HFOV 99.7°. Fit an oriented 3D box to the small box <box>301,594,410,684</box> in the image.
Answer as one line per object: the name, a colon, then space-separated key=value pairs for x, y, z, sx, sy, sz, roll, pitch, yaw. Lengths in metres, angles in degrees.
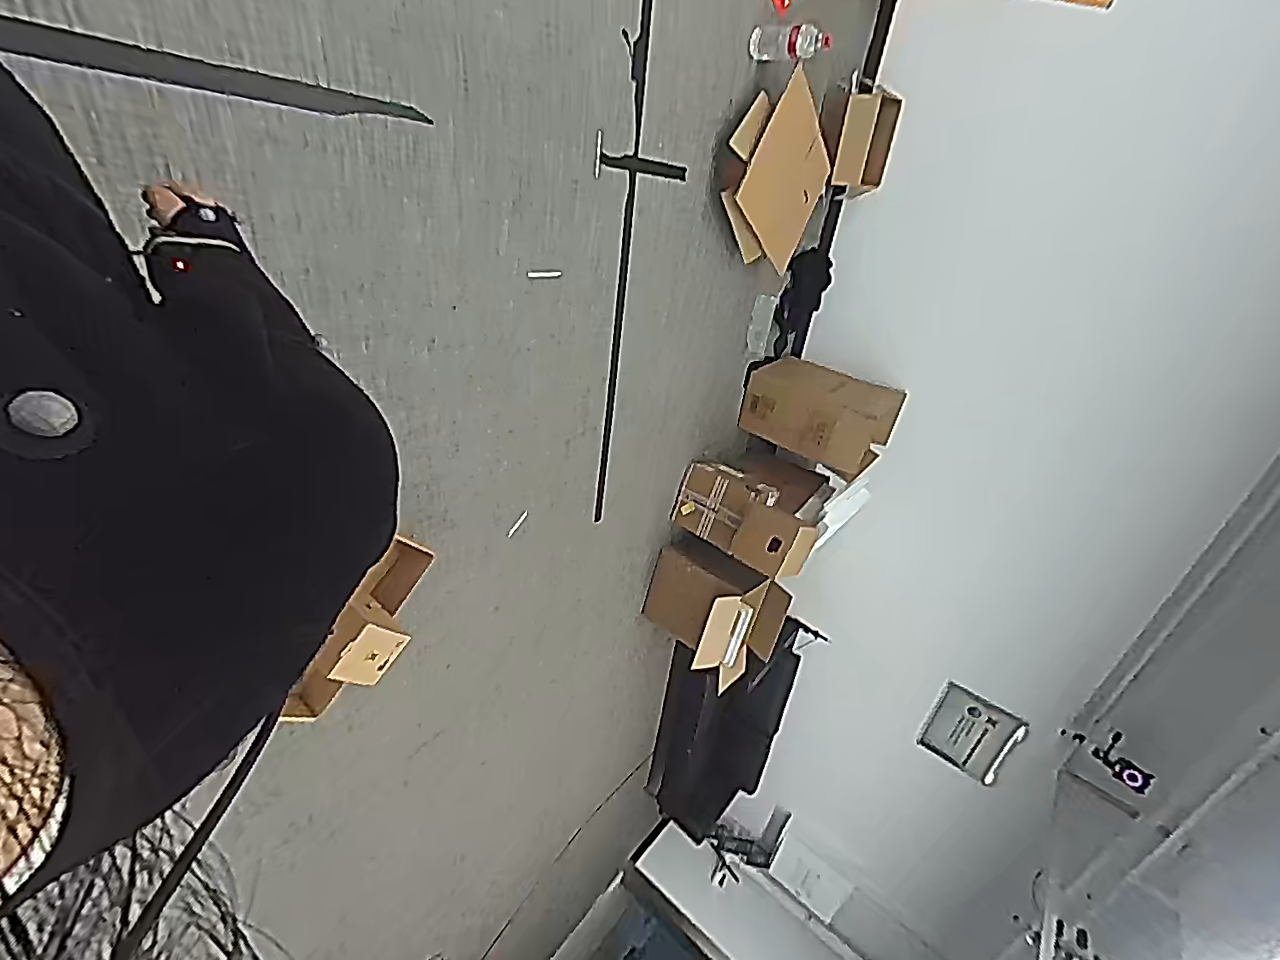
small box: x=-0.800 y=0.443 z=1.519 sx=0.168 sy=0.176 sz=0.179 roll=-54 pitch=149 yaw=-13
